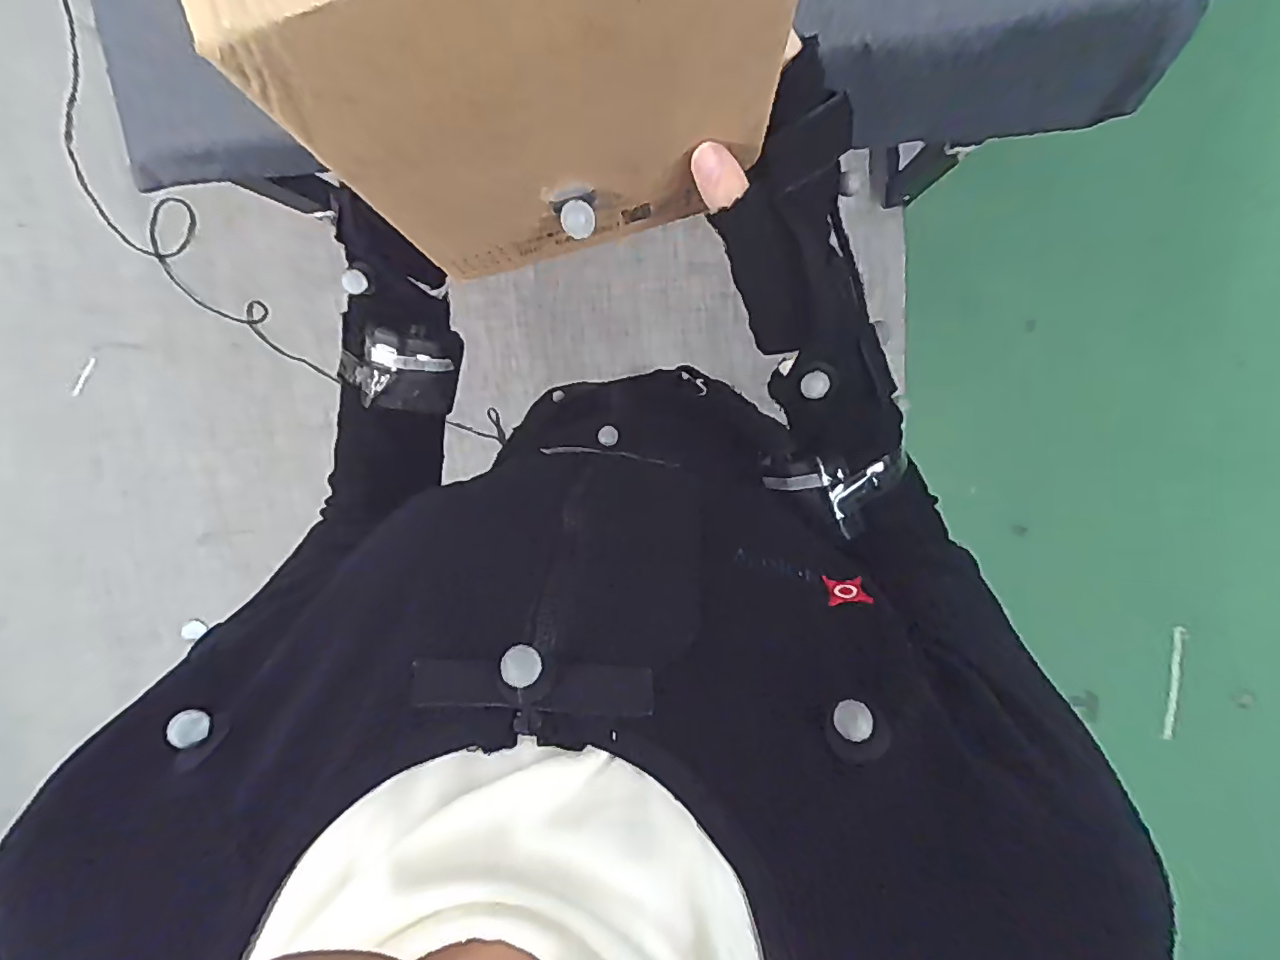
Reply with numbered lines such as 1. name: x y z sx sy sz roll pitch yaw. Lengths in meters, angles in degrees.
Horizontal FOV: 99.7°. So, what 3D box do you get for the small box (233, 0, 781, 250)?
1. small box: -0.048 -0.228 0.219 0.168 0.176 0.179 -14 90 5
